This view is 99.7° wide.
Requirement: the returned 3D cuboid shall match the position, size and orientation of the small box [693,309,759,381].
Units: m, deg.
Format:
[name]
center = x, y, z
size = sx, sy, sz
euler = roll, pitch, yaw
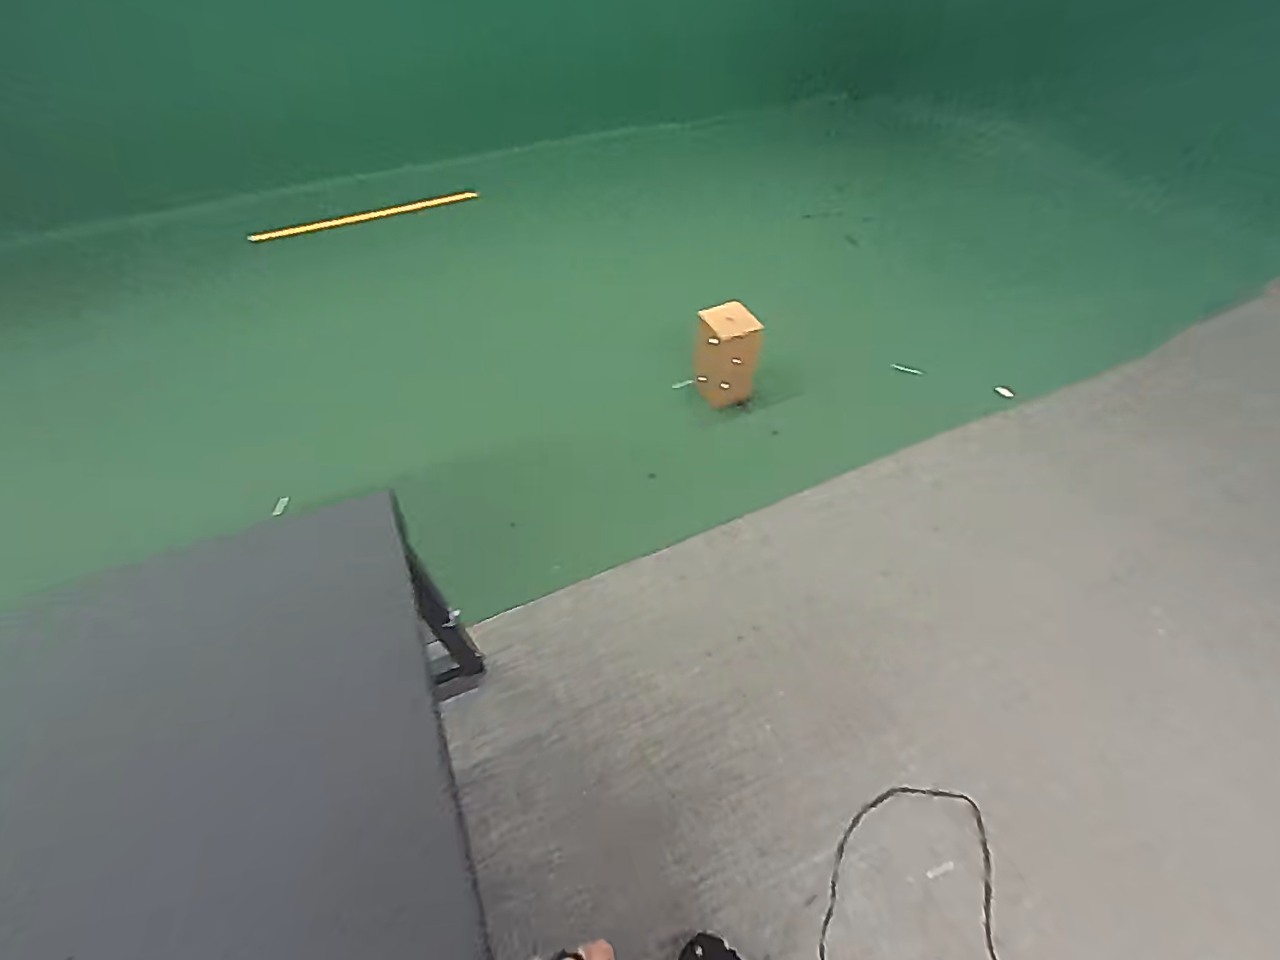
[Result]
[small box]
center = 0.306, -0.491, 1.970
size = 0.168, 0.176, 0.179
euler = -19, 53, -16
